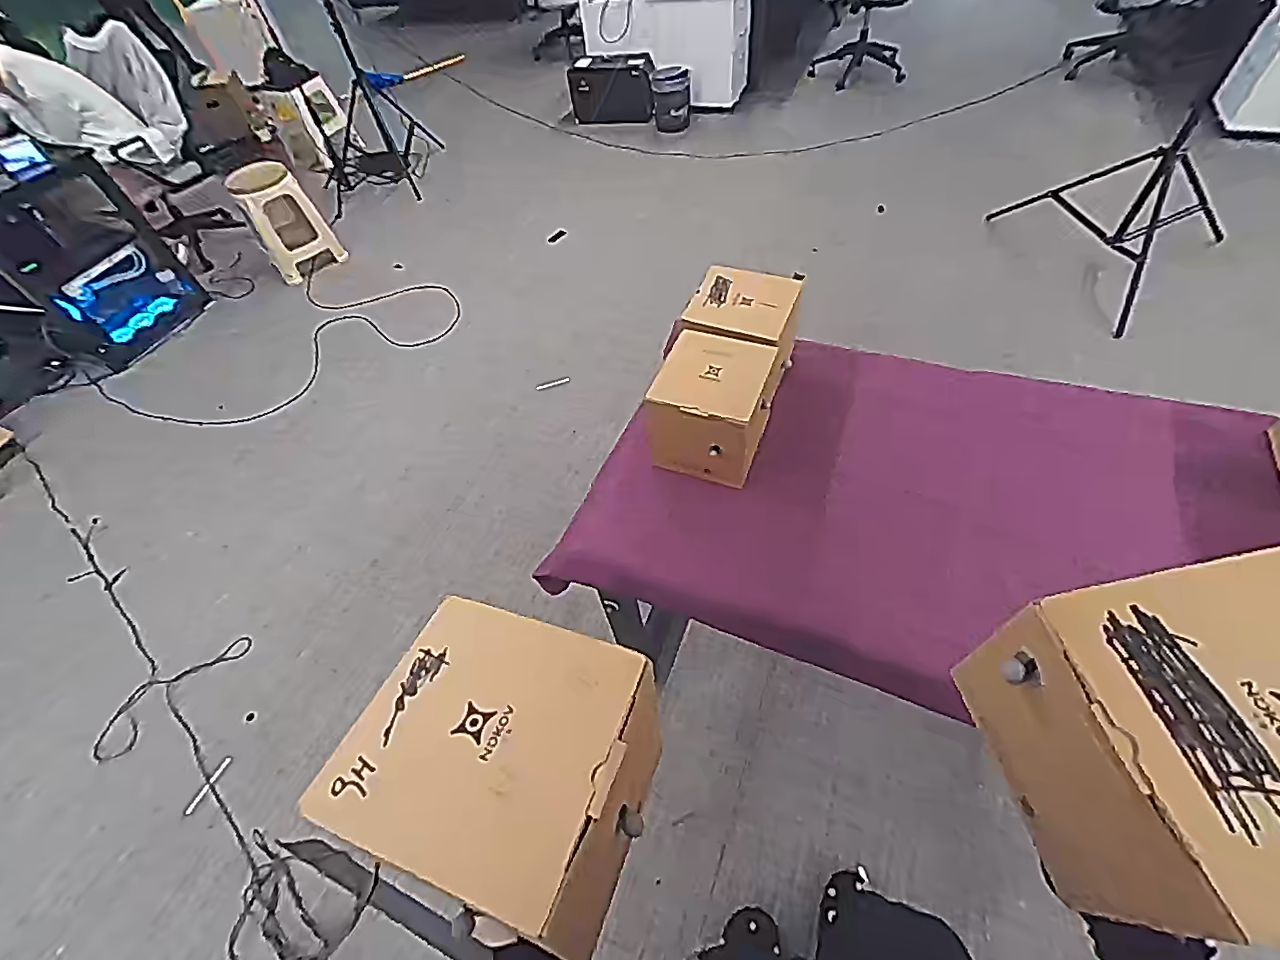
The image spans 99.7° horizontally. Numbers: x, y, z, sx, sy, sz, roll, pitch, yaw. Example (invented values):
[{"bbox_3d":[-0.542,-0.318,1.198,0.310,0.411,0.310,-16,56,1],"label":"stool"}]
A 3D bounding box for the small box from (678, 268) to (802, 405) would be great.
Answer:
[{"bbox_3d":[0.183,-0.264,1.007,0.179,0.176,0.168,18,59,18],"label":"small box"}]

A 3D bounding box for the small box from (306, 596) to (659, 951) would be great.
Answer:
[{"bbox_3d":[-0.091,0.221,0.411,0.179,0.176,0.168,12,47,17],"label":"small box"}]

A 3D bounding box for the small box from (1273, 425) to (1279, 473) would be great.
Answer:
[{"bbox_3d":[1.037,-0.045,0.736,0.179,0.176,0.168,17,58,18],"label":"small box"}]
